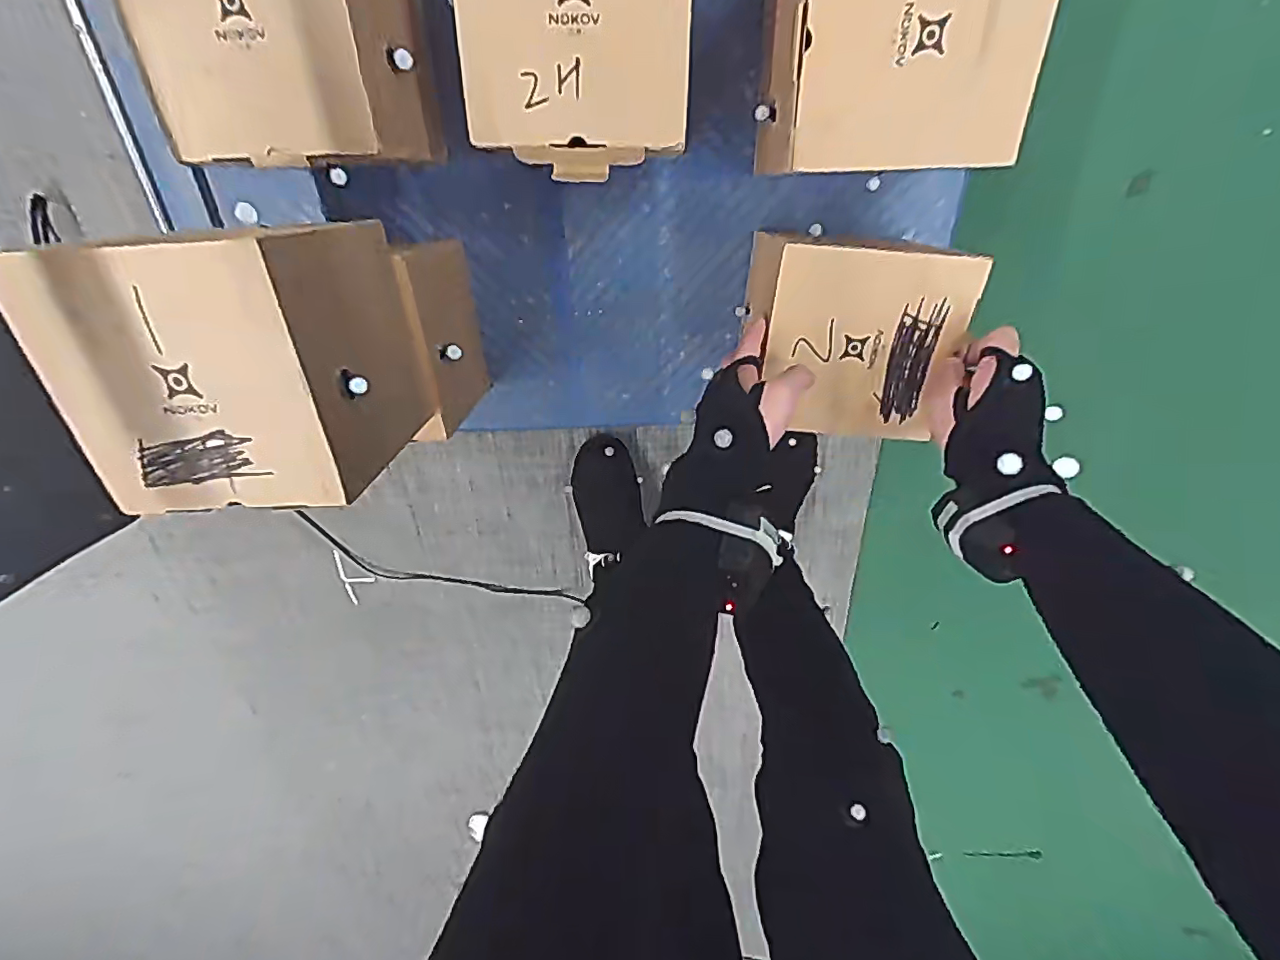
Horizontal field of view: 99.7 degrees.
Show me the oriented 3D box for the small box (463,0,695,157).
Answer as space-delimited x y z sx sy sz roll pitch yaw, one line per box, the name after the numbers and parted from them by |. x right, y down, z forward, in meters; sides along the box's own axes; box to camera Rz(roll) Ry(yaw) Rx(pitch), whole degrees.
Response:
-0.042 -0.376 0.447 0.168 0.176 0.179 2 119 0 | small box

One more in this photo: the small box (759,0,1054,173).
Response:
0.203 -0.356 0.455 0.179 0.176 0.168 0 119 1 | small box

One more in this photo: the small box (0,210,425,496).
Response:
-0.286 -0.104 0.414 0.168 0.176 0.179 -2 118 1 | small box

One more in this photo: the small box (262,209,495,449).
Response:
-0.281 -0.167 0.577 0.179 0.176 0.168 26 118 -12 | small box
